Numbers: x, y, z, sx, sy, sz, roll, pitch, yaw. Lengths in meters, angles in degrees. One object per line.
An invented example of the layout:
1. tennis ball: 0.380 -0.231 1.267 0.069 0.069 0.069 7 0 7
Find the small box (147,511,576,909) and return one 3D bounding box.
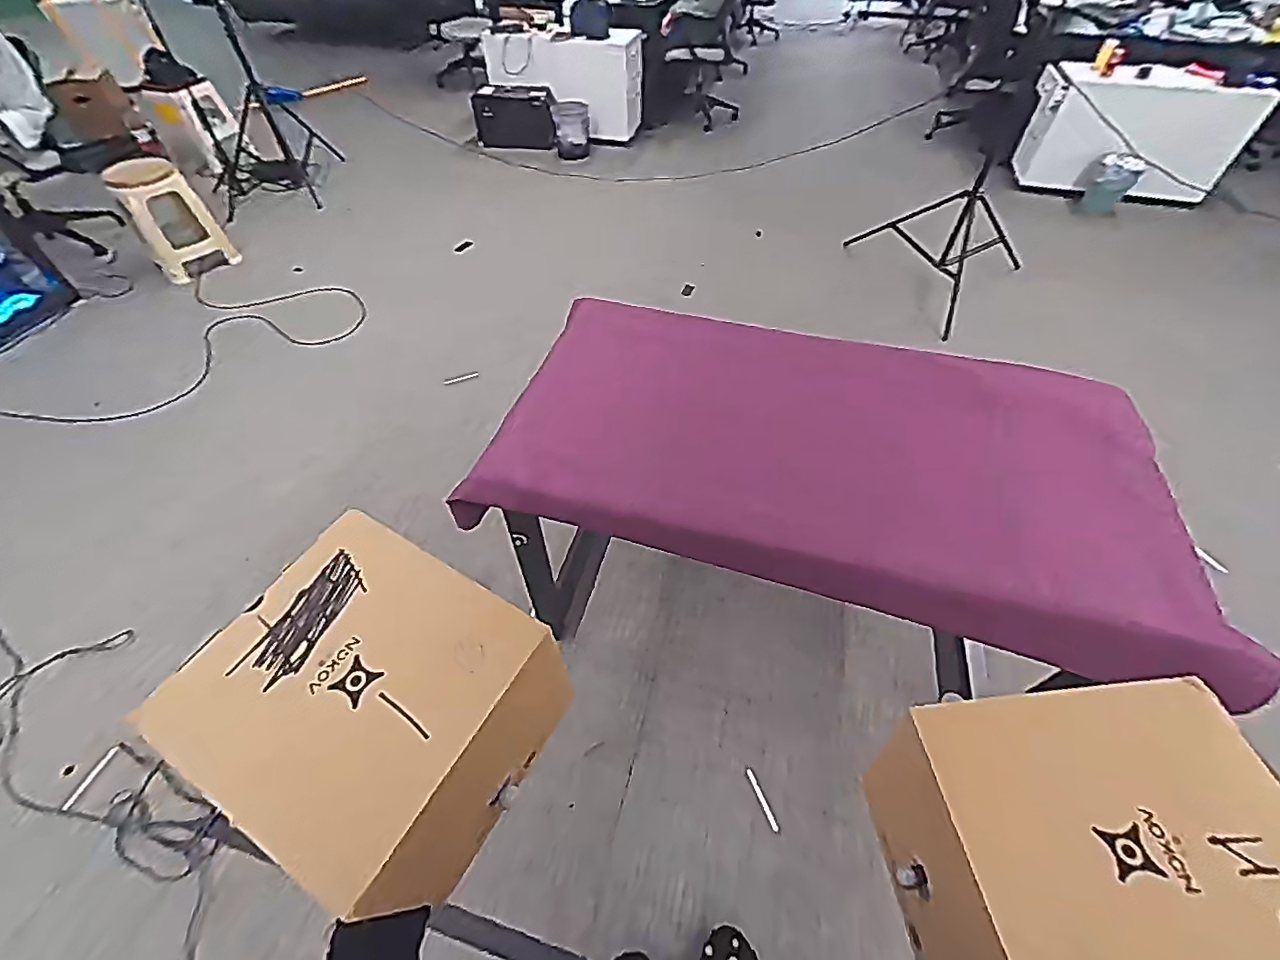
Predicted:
1. small box: -0.164 0.159 0.382 0.179 0.176 0.168 26 59 16

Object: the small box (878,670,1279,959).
1. small box: 0.266 0.239 0.336 0.179 0.176 0.168 -7 48 2
